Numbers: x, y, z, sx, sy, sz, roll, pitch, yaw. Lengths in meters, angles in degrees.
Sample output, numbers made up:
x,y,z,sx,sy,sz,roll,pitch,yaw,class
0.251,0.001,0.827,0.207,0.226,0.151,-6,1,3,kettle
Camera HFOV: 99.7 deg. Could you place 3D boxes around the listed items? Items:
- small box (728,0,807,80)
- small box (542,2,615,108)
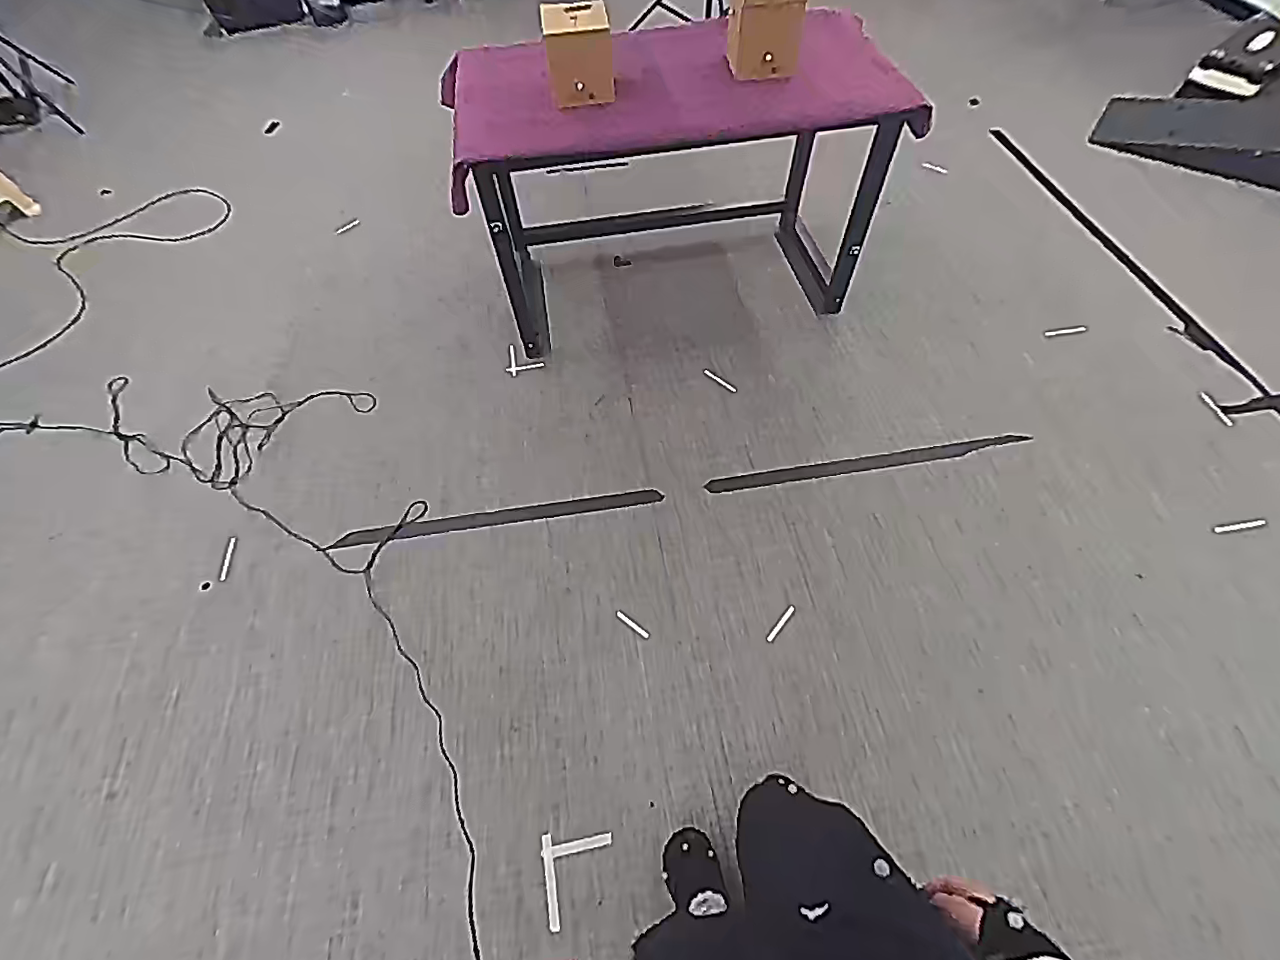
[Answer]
x,y,z,sx,sy,sz,roll,pitch,yaw,class
0.336,-1.216,1.460,0.168,0.176,0.179,-5,59,1,small box
-0.160,-1.115,1.423,0.168,0.176,0.179,-8,59,-2,small box
